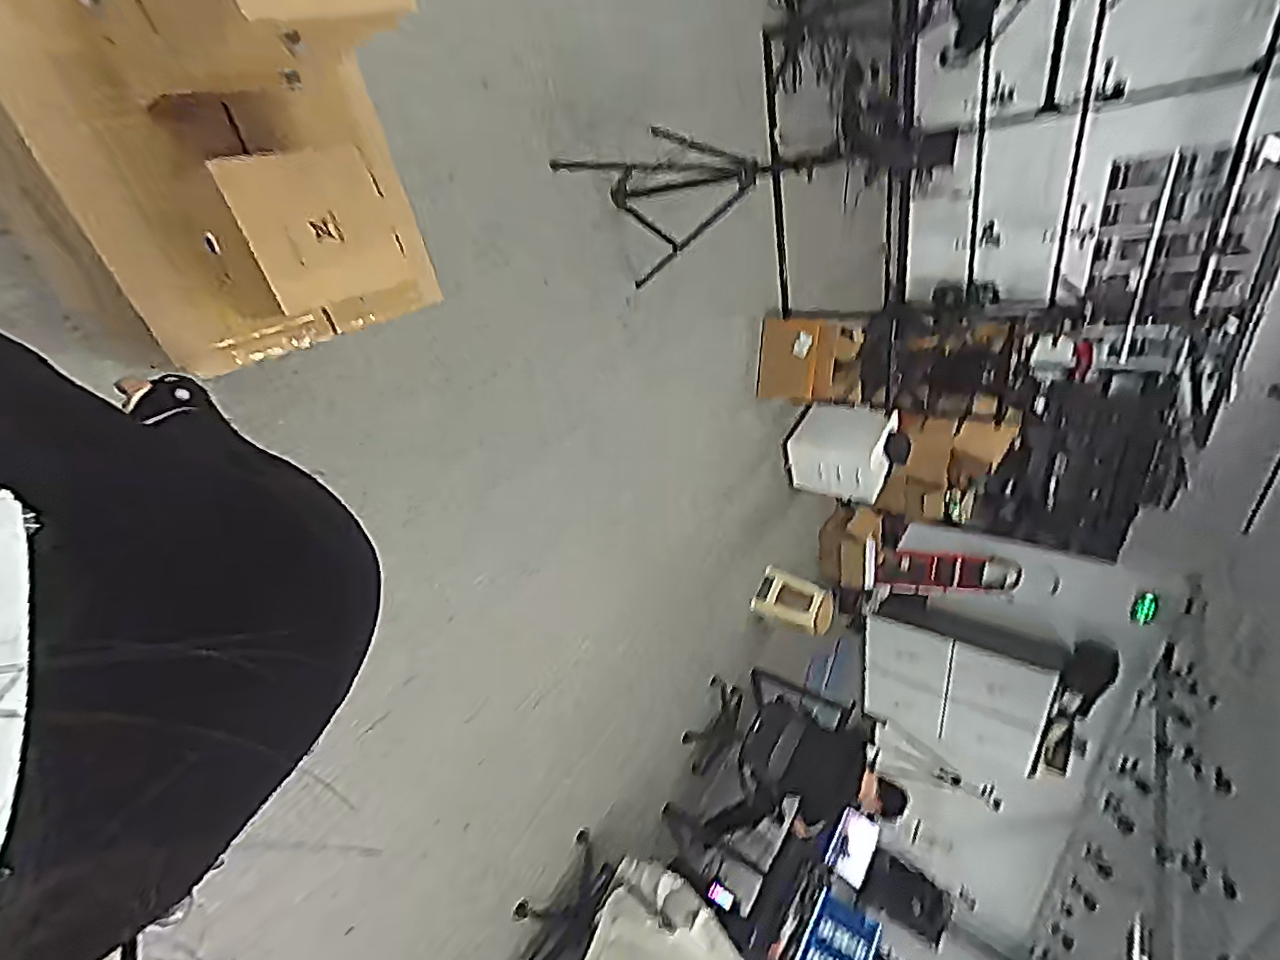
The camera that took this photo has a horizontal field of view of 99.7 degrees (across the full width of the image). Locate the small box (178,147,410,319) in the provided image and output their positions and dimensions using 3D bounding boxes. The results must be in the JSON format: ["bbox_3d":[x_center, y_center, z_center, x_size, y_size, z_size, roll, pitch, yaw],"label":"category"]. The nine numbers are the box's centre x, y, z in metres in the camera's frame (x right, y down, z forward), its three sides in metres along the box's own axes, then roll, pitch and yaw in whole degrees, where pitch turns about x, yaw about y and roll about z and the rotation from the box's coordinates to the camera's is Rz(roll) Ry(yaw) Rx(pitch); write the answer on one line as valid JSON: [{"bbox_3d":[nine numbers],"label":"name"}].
[{"bbox_3d":[-0.445,-0.316,0.705,0.179,0.176,0.168,-38,126,-38],"label":"small box"}]

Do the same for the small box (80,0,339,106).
[{"bbox_3d":[-0.482,-0.529,0.592,0.179,0.176,0.168,-41,131,-38],"label":"small box"}]

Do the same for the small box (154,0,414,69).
[{"bbox_3d":[-0.354,-0.500,0.494,0.179,0.176,0.168,-42,132,-36],"label":"small box"}]
